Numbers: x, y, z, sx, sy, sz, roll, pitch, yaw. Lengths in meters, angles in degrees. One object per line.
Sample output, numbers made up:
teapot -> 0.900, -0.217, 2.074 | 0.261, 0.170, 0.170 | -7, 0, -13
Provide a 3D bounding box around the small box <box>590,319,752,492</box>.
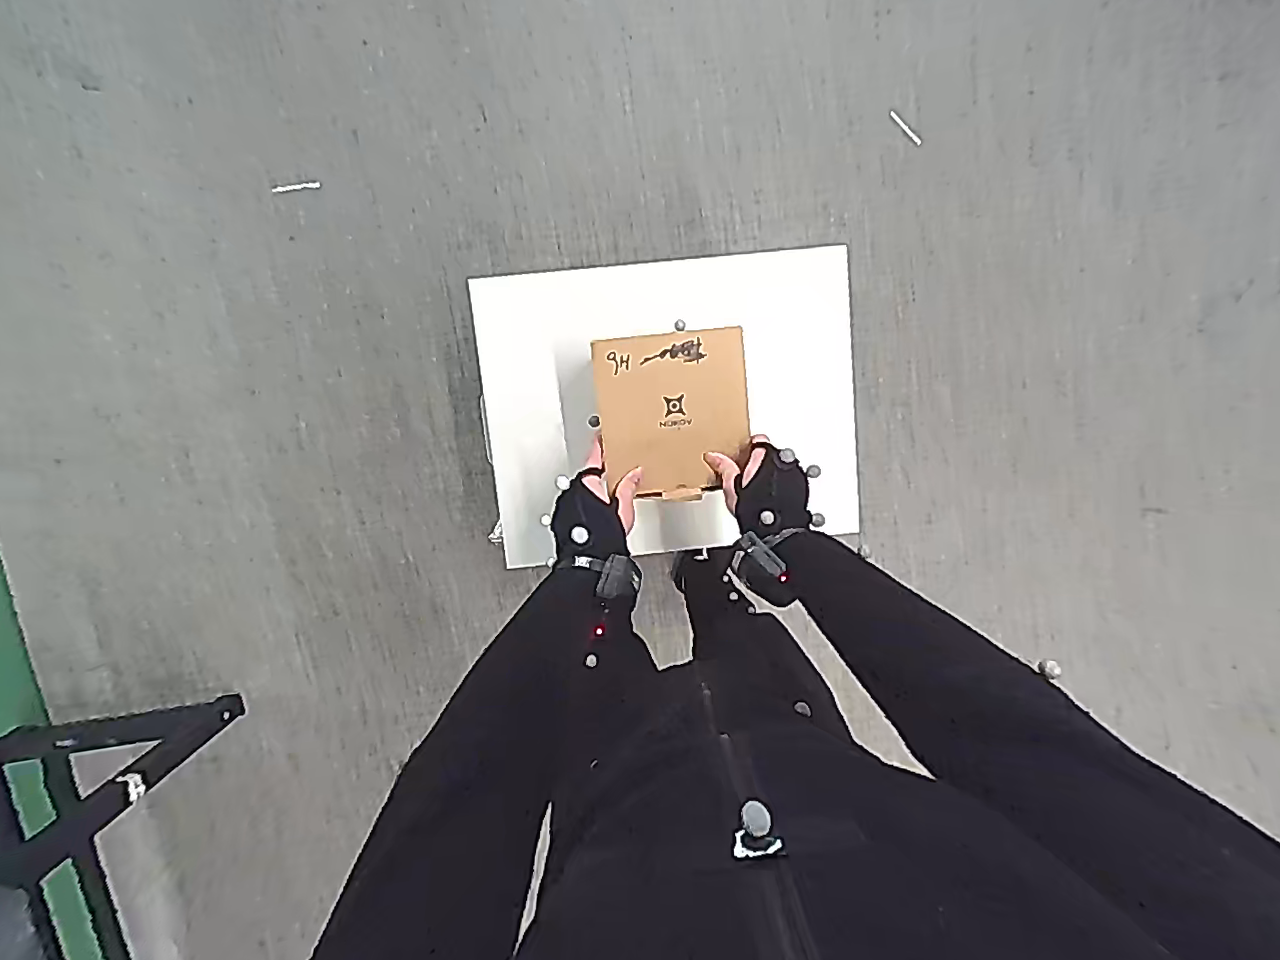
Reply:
small box -> 0.035, -0.092, 0.676 | 0.168, 0.176, 0.179 | -8, 97, -1
